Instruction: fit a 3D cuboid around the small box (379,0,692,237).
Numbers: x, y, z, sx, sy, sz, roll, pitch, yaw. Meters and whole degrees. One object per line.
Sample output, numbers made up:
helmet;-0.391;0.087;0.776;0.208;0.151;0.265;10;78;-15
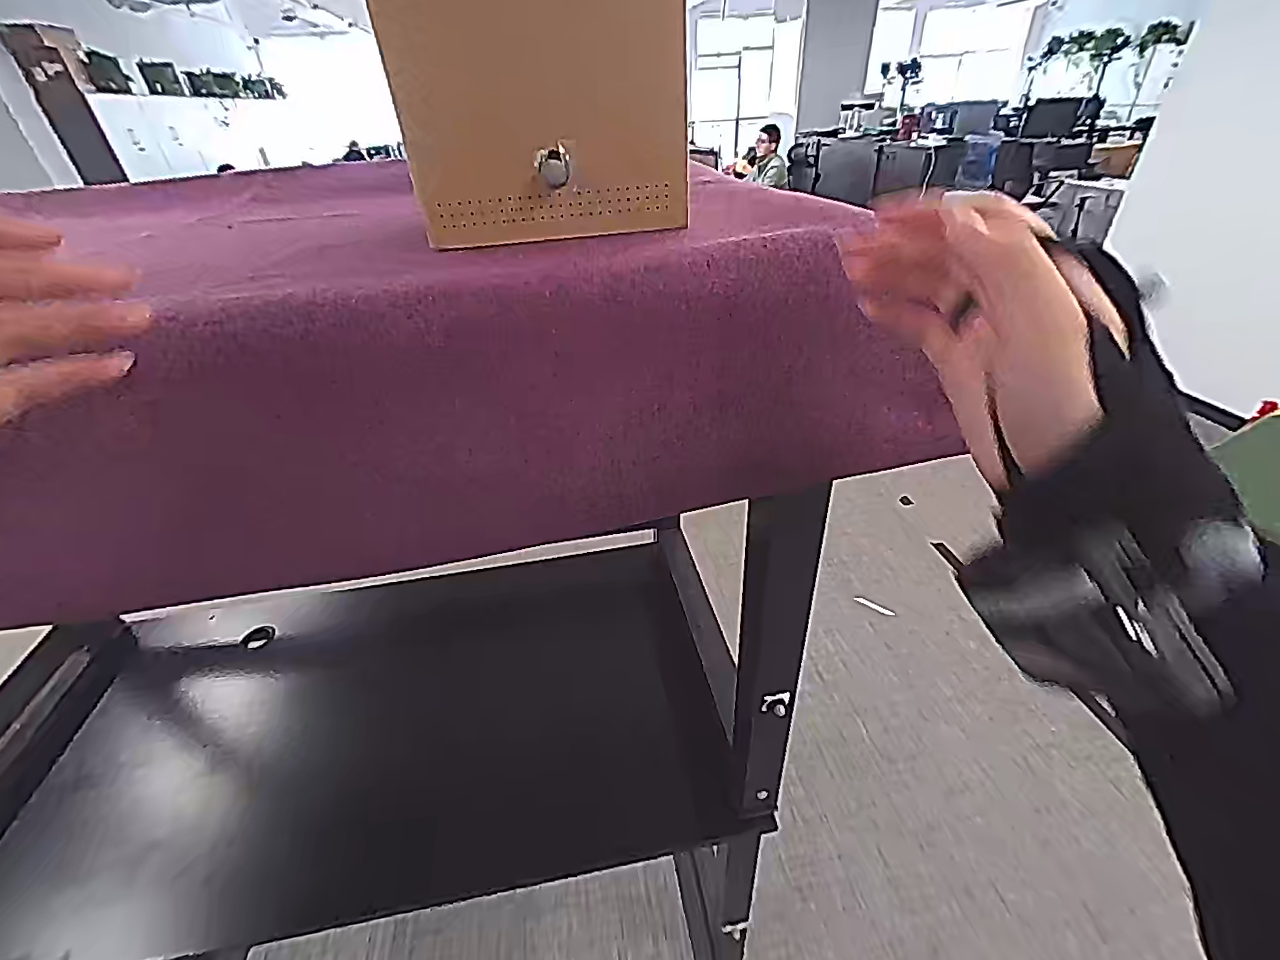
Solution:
small box;-0.062;-0.279;0.379;0.179;0.176;0.168;-7;34;-4
